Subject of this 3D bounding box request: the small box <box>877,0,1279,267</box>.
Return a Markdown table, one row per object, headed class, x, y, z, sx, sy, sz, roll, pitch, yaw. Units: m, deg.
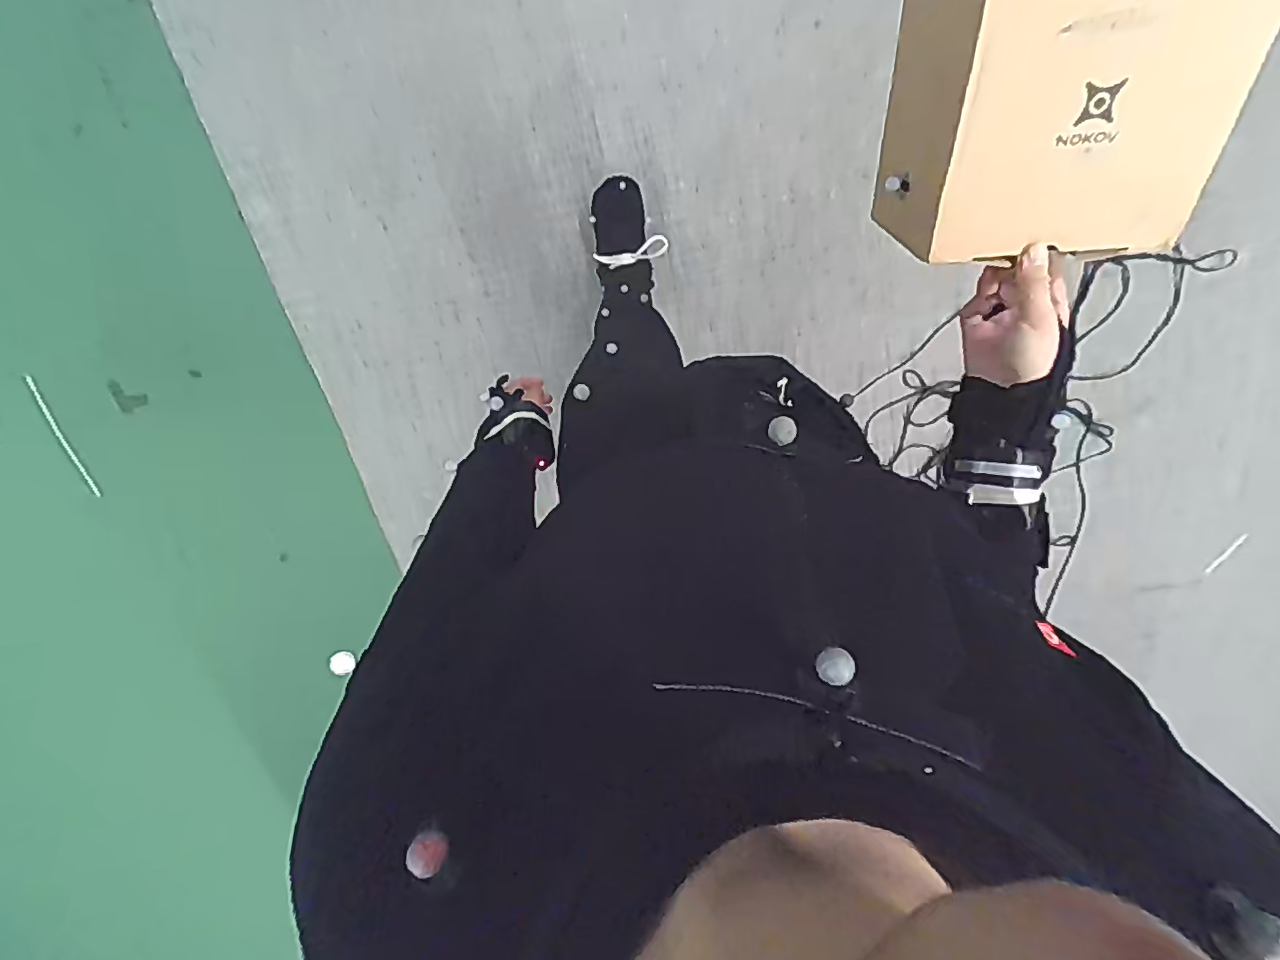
| class | x | y | z | sx | sy | sz | roll | pitch | yaw |
| --- | --- | --- | --- | --- | --- | --- | --- | --- | --- |
| small box | 0.289 | -0.273 | 0.400 | 0.168 | 0.176 | 0.179 | -2 | 125 | 7 |
